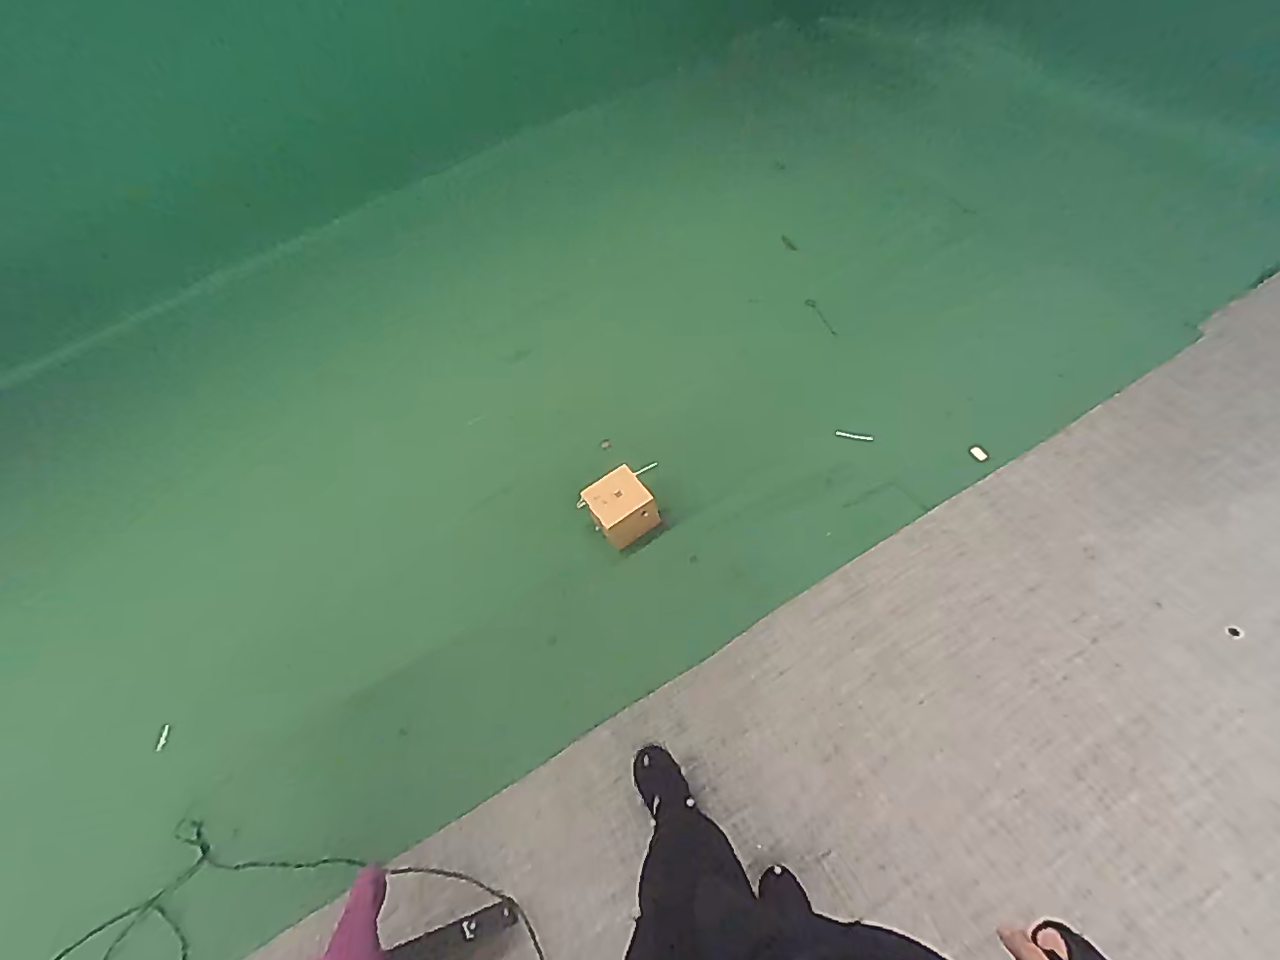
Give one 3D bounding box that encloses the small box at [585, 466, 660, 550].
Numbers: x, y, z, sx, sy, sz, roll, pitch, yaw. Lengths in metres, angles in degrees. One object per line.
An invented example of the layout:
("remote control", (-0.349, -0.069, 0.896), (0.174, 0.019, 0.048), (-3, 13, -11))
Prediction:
("small box", (-0.049, 0.093, 1.734), (0.179, 0.176, 0.168), (-33, 59, -10))
